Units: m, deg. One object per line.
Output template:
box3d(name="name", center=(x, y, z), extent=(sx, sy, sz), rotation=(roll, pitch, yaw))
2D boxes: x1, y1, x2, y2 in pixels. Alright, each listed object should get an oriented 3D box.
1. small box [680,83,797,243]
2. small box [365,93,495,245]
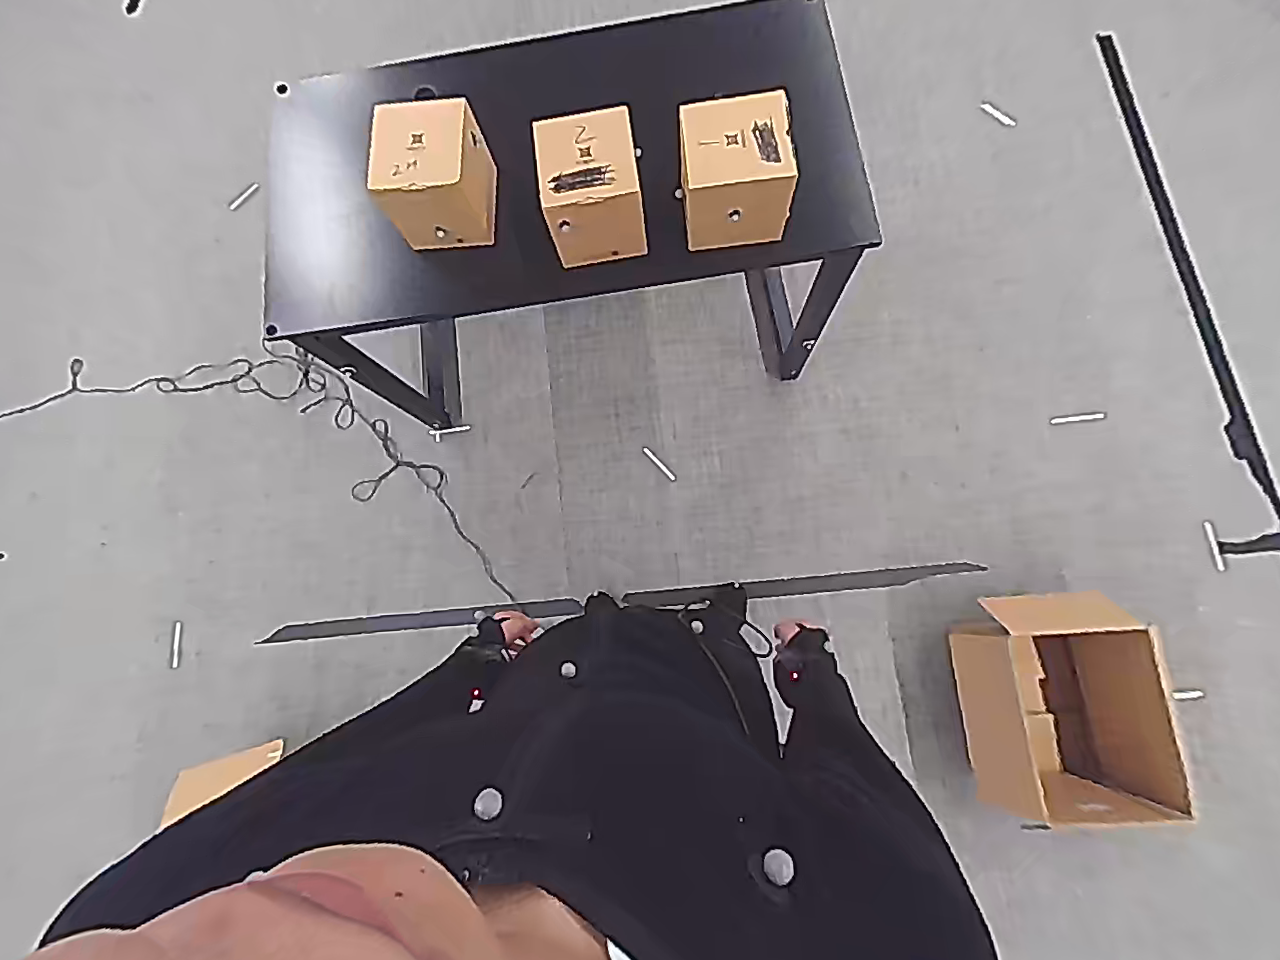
box3d(name="small box", center=(0.164, -0.545, 0.950), extent=(0.179, 0.176, 0.168), rotation=(-6, 78, 5))
box3d(name="small box", center=(-0.377, -0.566, 1.000), extent=(0.168, 0.176, 0.179), rotation=(-2, 79, 5))
